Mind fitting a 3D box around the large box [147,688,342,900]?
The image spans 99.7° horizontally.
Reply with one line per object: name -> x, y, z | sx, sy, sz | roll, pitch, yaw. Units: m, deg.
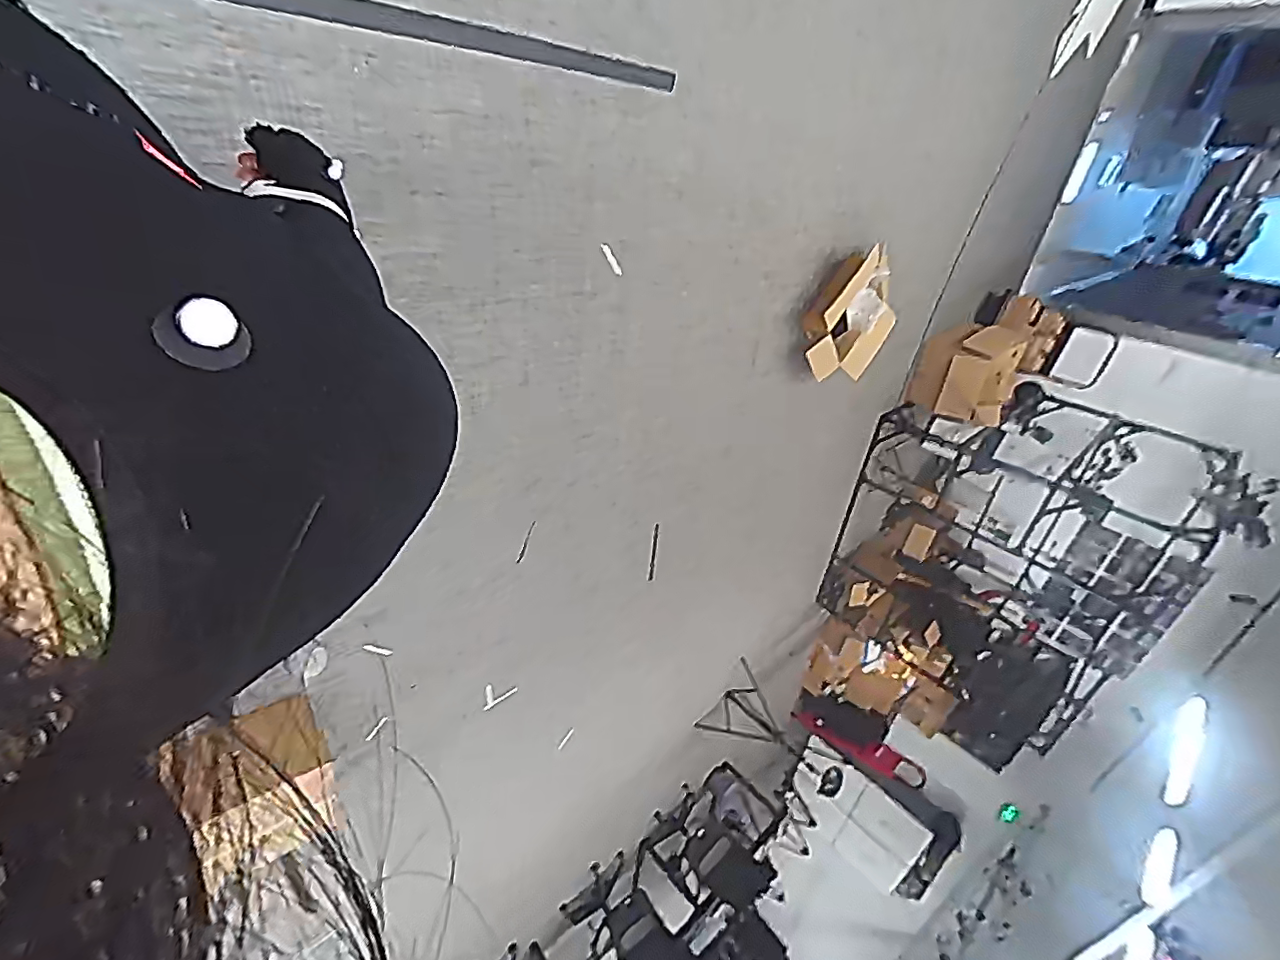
large box -> -1.175, 0.916, 1.633 | 0.408, 0.320, 0.320 | -15, 127, -43
